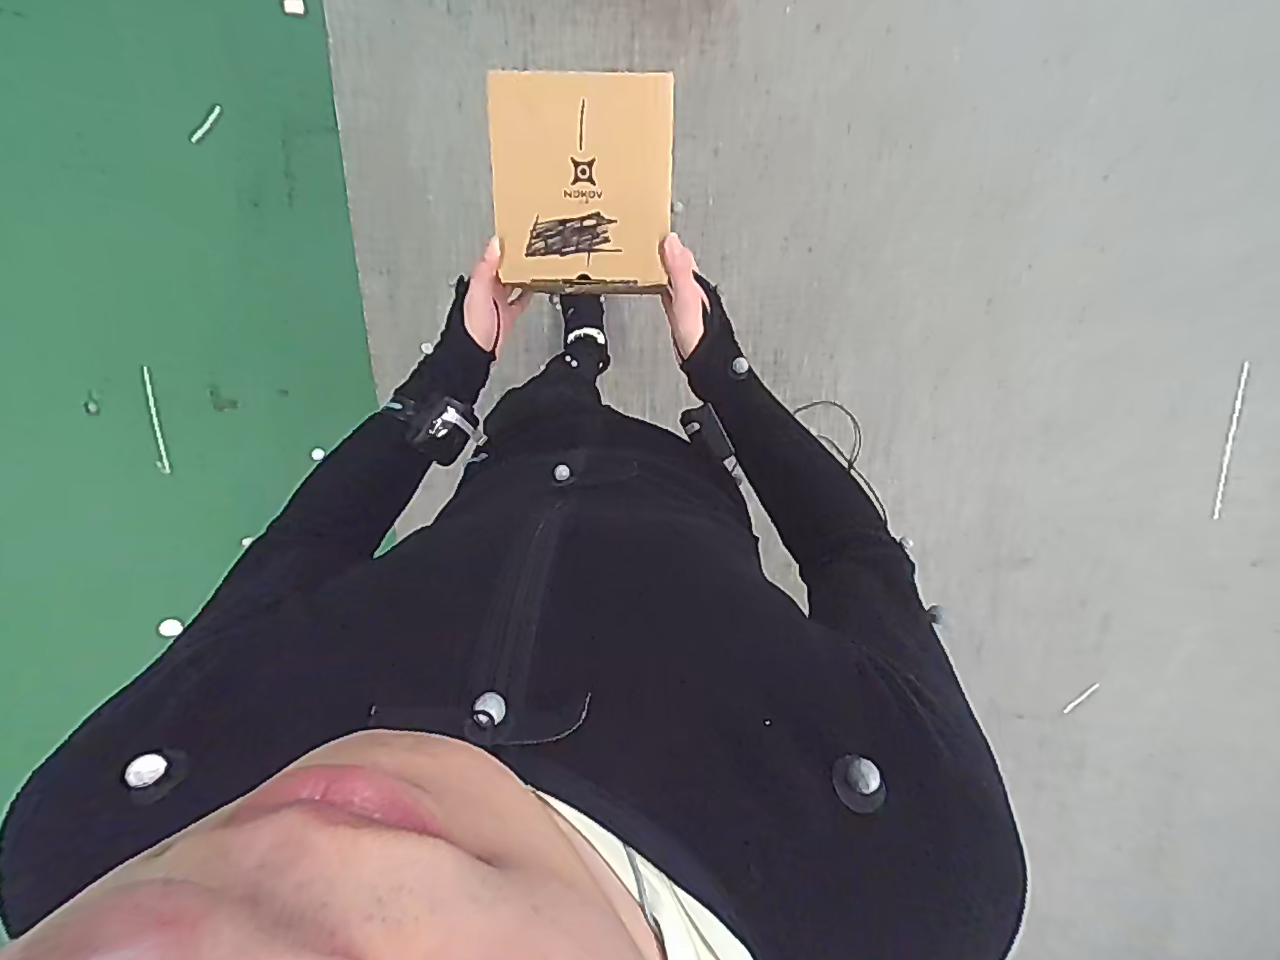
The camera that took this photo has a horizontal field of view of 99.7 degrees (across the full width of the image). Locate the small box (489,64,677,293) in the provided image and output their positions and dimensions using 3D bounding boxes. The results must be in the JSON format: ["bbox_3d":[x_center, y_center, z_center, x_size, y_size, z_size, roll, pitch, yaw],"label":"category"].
[{"bbox_3d":[-0.051,-0.293,0.565,0.168,0.176,0.179,0,104,-1],"label":"small box"}]
